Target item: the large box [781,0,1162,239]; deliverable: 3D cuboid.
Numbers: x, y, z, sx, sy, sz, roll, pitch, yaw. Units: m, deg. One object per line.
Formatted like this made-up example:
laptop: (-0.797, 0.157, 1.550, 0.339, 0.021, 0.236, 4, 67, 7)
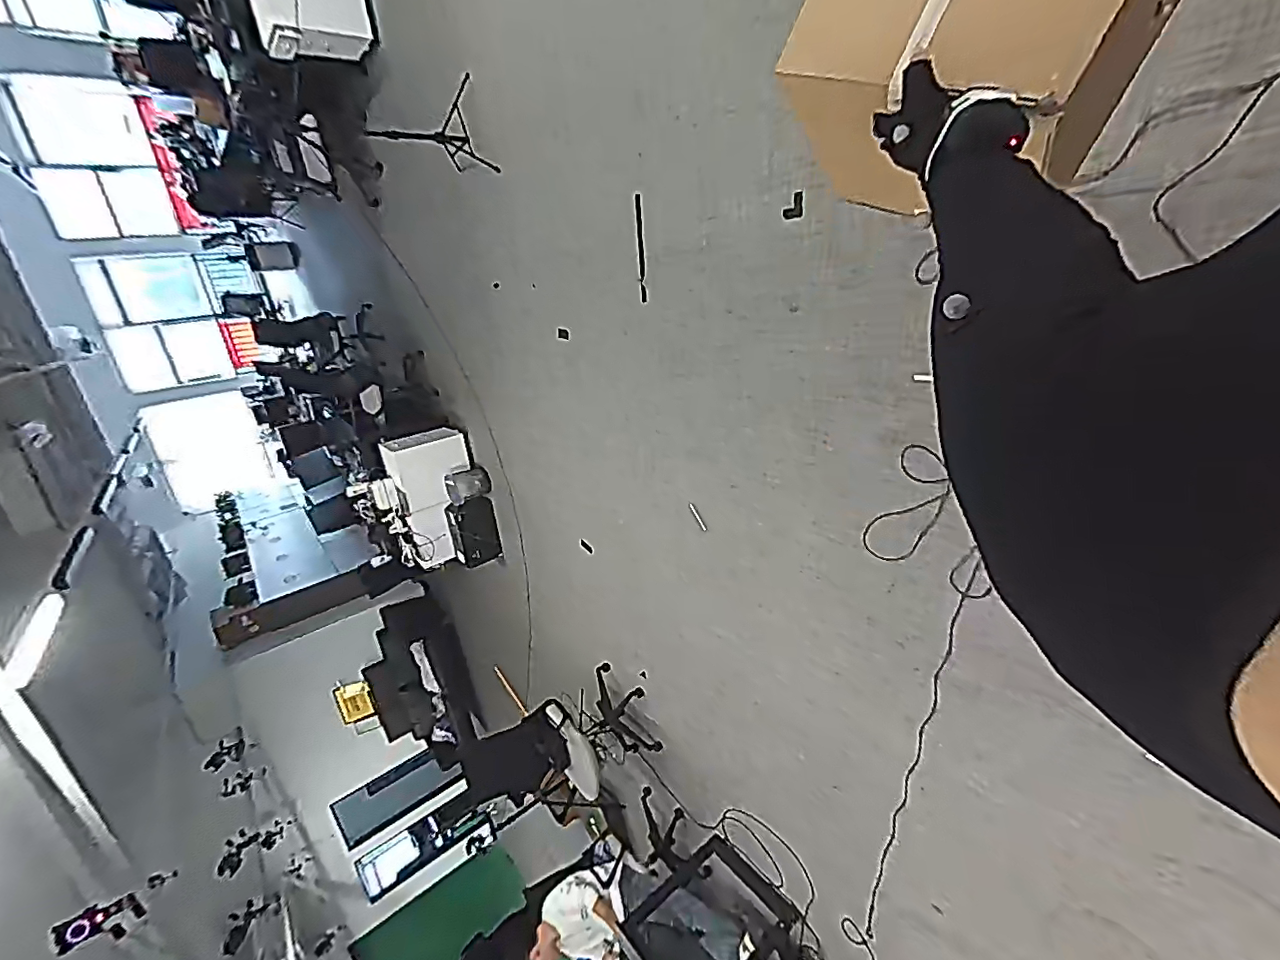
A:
large box: (0.441, -0.589, 0.674, 0.320, 0.320, 0.408, 32, 104, 30)
